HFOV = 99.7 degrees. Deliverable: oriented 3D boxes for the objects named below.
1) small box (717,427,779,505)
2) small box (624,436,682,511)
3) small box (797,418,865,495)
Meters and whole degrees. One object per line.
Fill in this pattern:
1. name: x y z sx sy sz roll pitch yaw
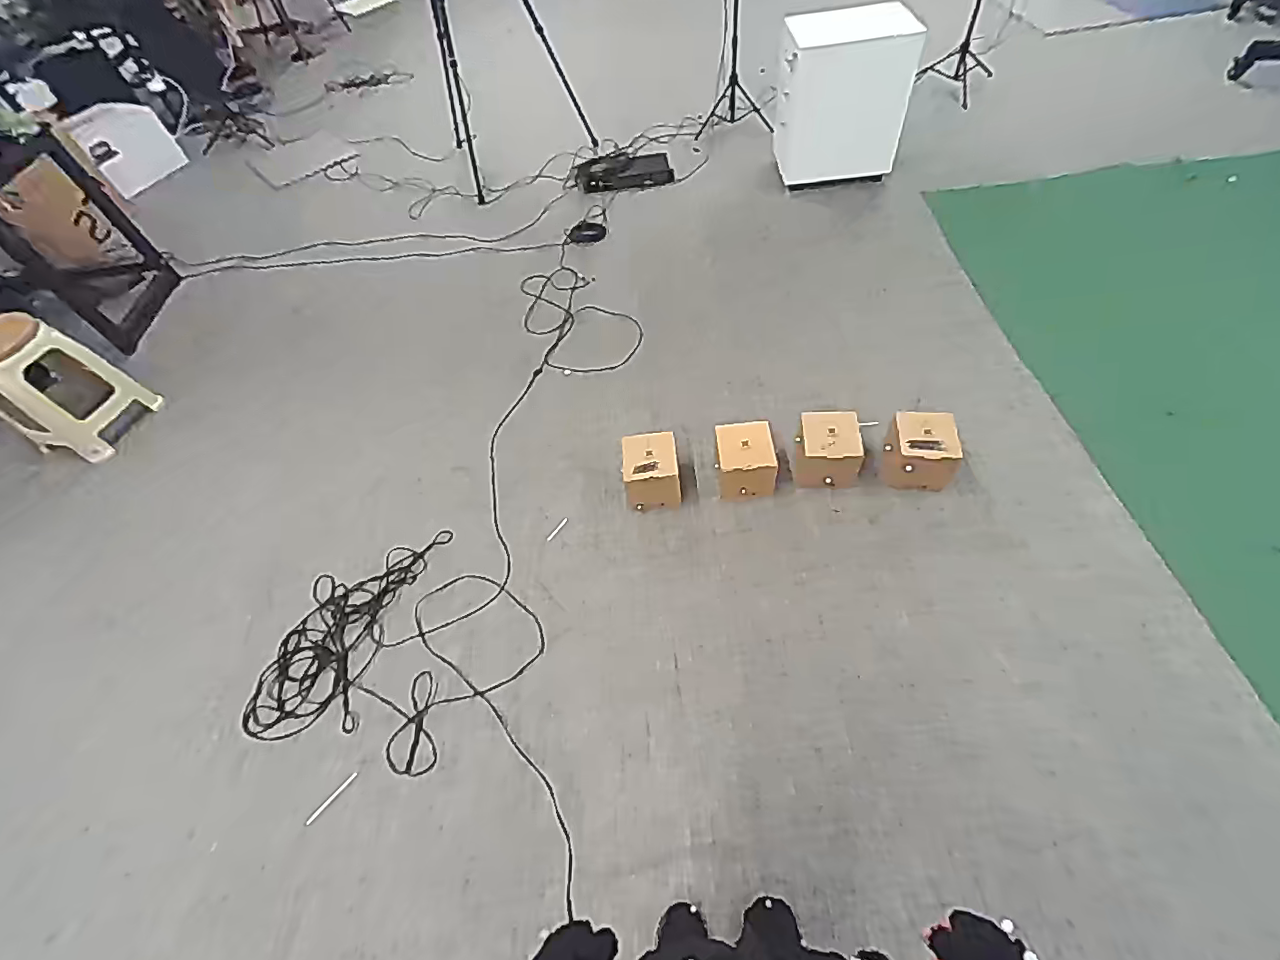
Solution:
1. small box: 0.332 -0.043 1.695 0.168 0.176 0.179 -5 54 4
2. small box: 0.043 -0.014 1.709 0.168 0.176 0.179 -6 53 3
3. small box: 0.586 -0.074 1.682 0.168 0.176 0.179 1 55 9
